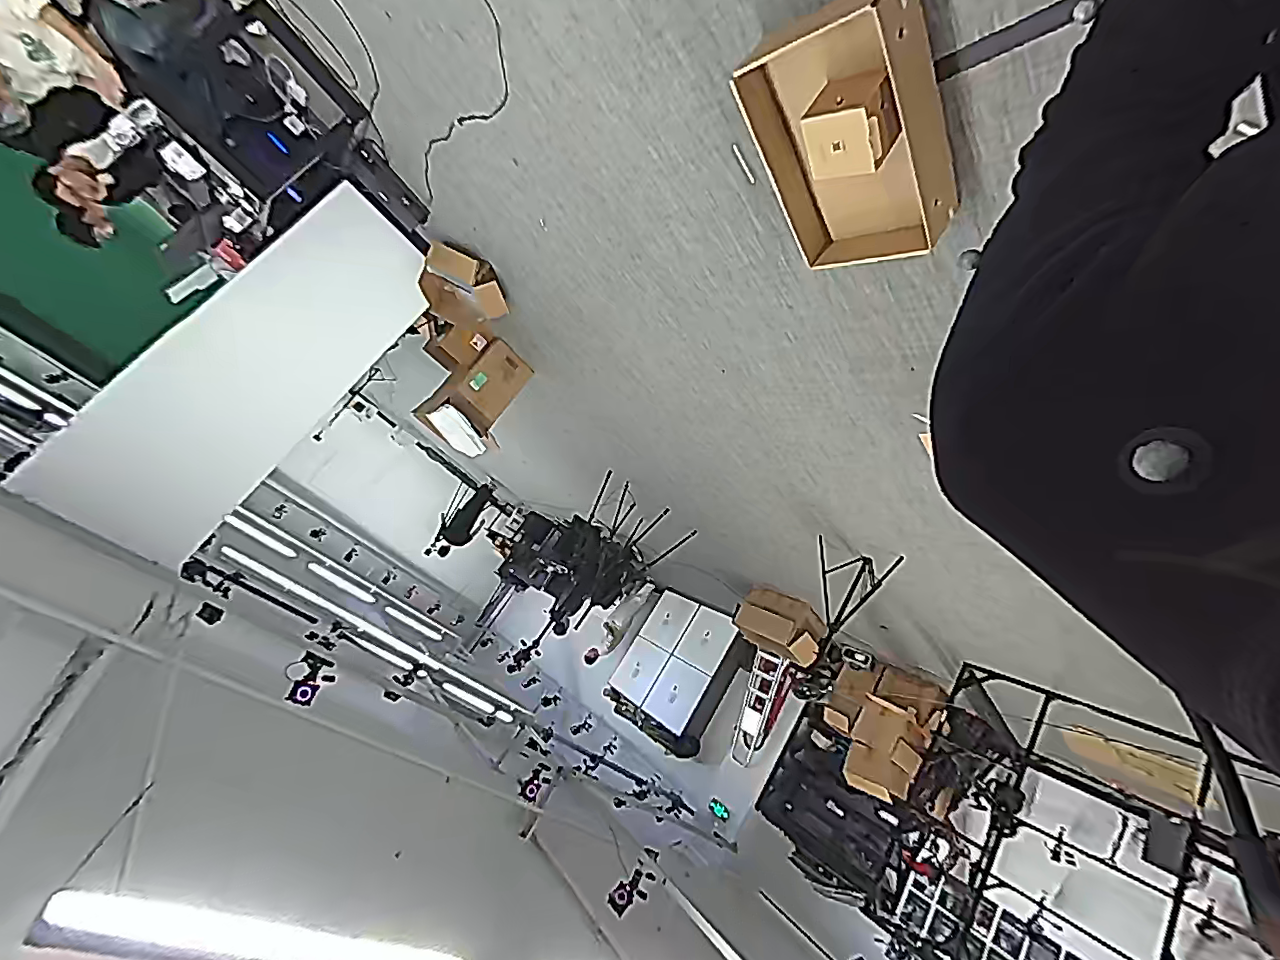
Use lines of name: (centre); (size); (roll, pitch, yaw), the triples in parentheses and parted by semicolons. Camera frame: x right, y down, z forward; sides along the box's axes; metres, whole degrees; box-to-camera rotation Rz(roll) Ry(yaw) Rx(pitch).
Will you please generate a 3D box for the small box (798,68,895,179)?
small box: (0.536, -0.909, 1.384); (0.179, 0.176, 0.168); (19, 157, 40)
